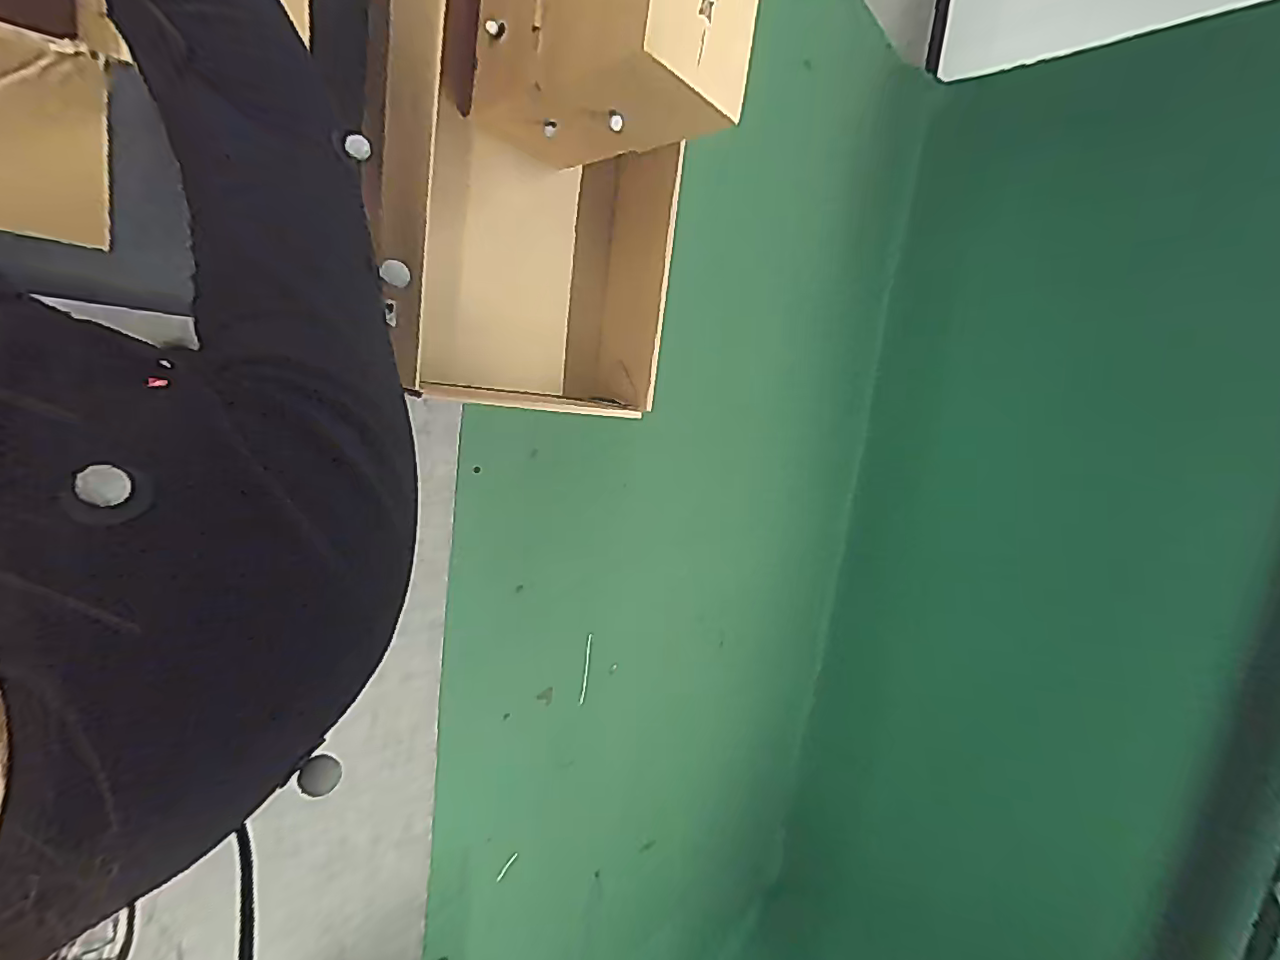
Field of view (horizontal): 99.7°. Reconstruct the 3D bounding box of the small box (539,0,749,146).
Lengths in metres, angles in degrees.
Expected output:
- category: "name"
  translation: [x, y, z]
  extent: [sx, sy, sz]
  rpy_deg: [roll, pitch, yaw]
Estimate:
- category: "small box"
  translation: [0.003, -0.517, 0.616]
  extent: [0.168, 0.176, 0.179]
  rpy_deg: [-3, 105, -47]
